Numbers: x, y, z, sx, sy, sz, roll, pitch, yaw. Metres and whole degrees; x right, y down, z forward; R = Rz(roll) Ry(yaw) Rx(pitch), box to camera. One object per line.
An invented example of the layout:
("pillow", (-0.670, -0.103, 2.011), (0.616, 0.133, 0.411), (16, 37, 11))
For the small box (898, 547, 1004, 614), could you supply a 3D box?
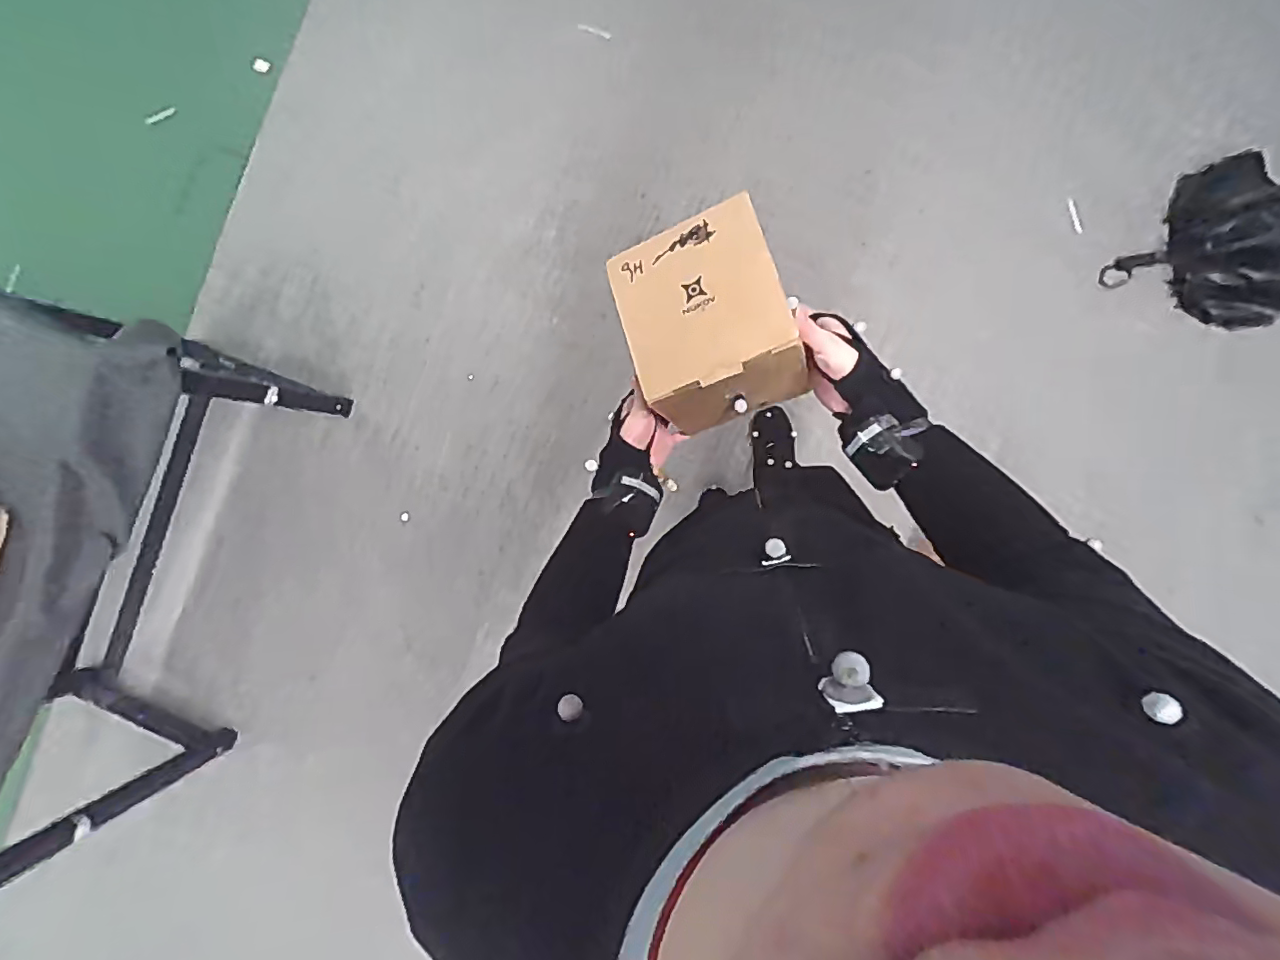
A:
("small box", (0.795, 0.276, 1.401), (0.179, 0.176, 0.168), (10, 94, 6))
